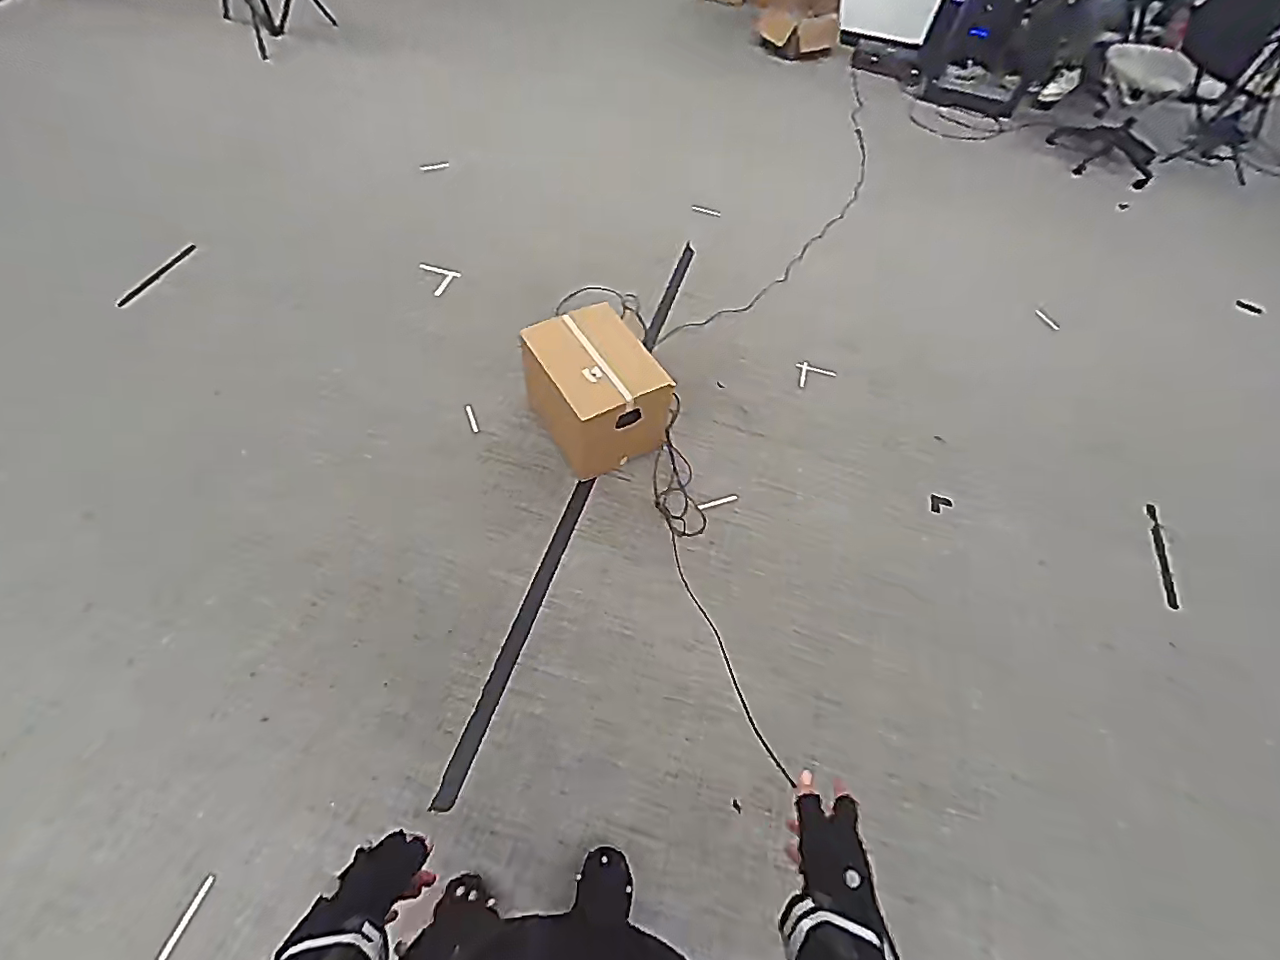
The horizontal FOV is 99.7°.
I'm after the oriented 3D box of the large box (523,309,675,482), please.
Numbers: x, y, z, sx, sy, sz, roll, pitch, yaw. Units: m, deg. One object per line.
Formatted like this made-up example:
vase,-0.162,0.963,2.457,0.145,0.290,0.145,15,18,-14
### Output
large box,-0.145,-0.273,1.745,0.320,0.320,0.408,-26,64,-21
